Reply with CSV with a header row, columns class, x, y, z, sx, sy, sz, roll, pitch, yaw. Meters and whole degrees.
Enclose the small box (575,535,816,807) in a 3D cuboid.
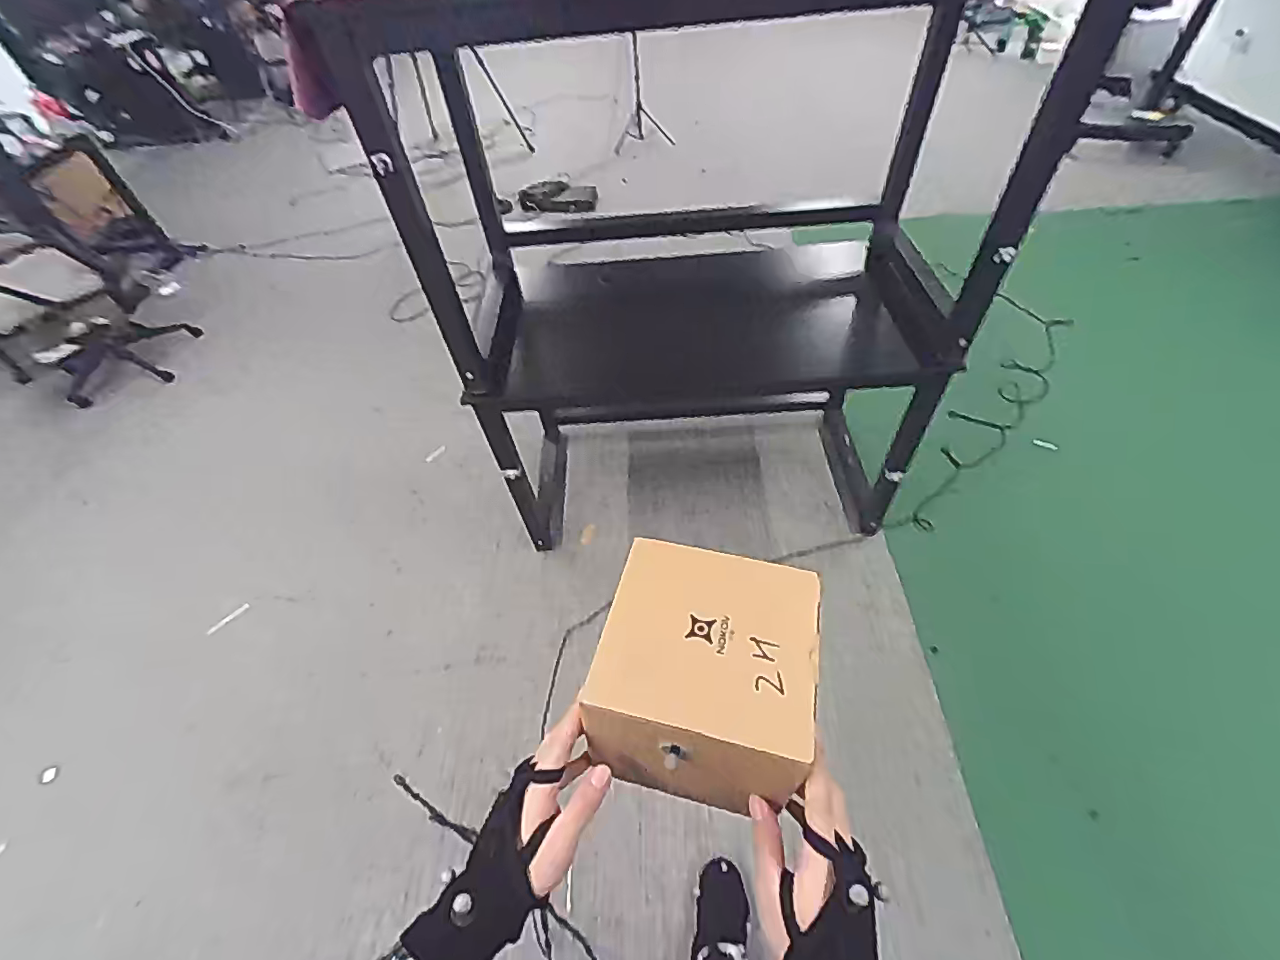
class,x,y,z,sx,sy,sz,roll,pitch,yaw
small box,0.056,0.179,0.506,0.179,0.176,0.168,10,47,11
